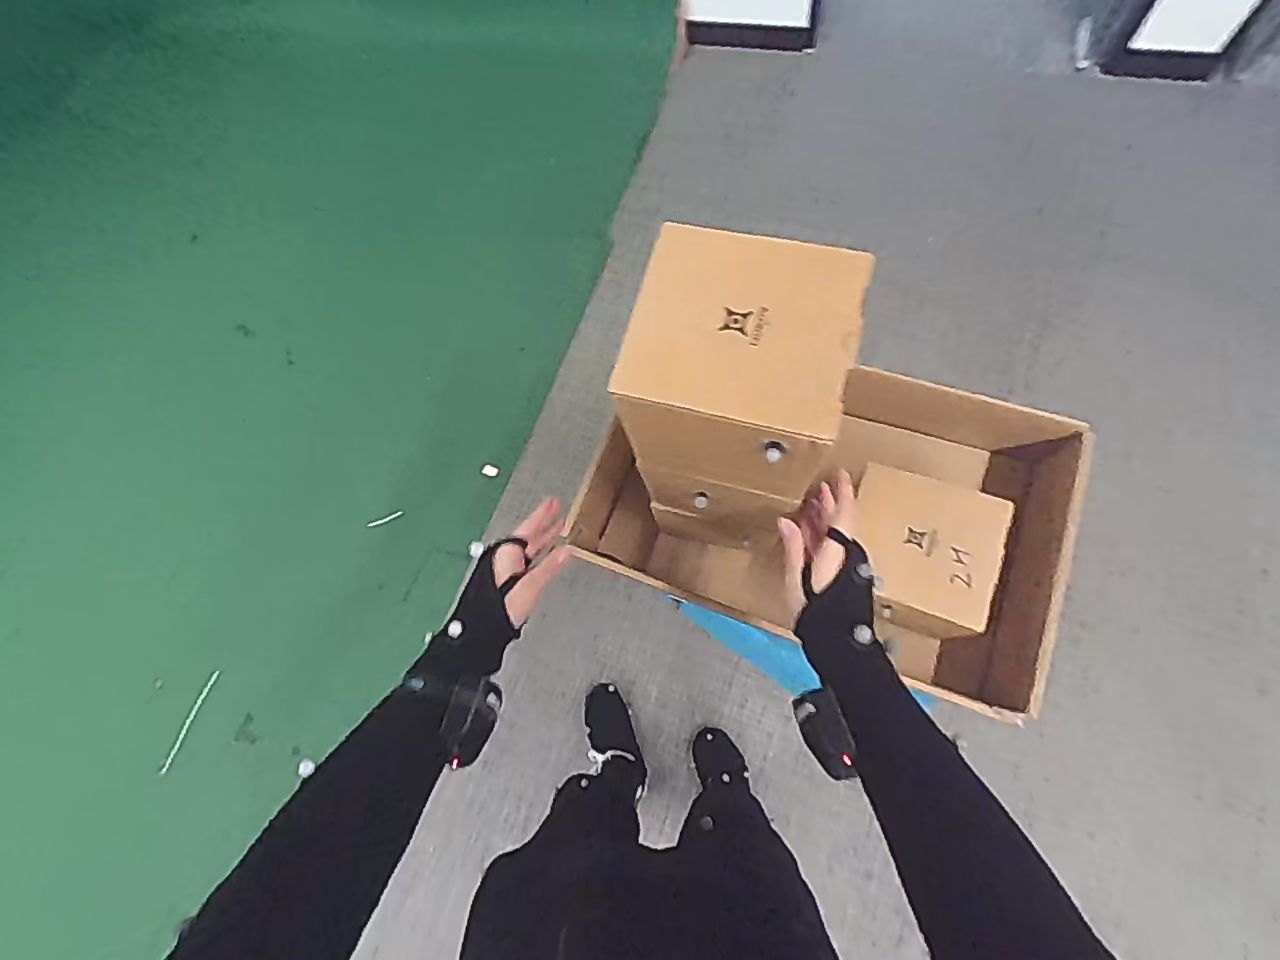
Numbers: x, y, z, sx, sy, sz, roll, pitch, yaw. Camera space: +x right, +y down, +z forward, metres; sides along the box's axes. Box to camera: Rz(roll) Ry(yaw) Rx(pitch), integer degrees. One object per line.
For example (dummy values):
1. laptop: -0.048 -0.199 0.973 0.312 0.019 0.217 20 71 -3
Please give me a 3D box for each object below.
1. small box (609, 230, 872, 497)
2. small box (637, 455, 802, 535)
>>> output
1. small box: 0.089 -0.095 0.499 0.179 0.176 0.168 14 75 11
2. small box: 0.112 -0.043 0.652 0.179 0.176 0.168 14 75 12
